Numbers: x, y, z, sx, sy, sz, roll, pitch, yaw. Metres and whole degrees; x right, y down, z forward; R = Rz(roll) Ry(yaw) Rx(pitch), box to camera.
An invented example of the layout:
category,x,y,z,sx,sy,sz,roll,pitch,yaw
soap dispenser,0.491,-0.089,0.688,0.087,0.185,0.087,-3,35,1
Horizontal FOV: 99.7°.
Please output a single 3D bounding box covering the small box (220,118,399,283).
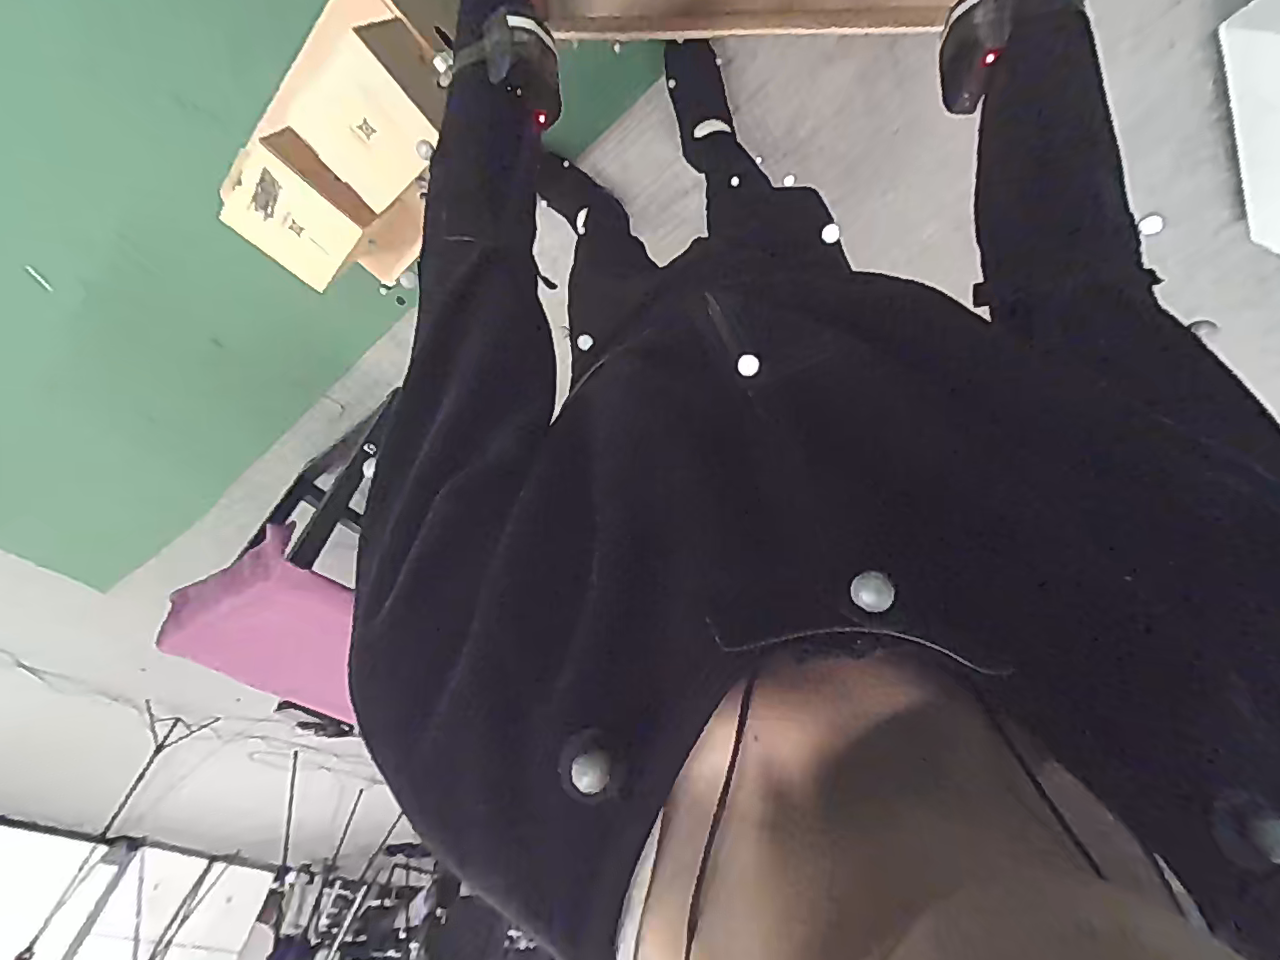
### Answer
category,x,y,z,sx,sy,sz,roll,pitch,yaw
small box,-0.558,-0.485,0.932,0.168,0.176,0.179,-31,125,30
